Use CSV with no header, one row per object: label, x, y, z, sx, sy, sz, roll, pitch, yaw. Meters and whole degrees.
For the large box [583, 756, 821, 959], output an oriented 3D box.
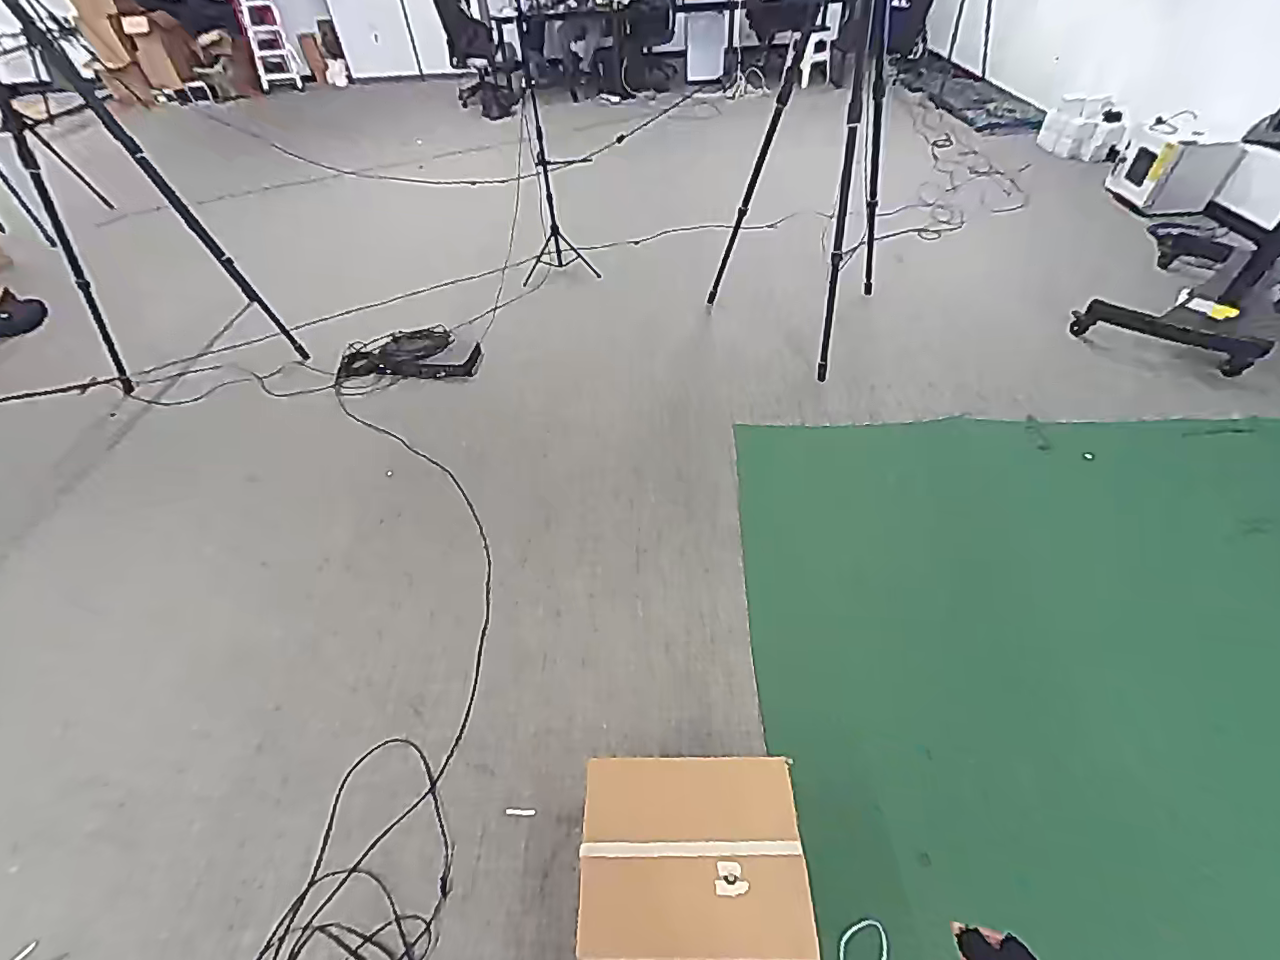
large box,0.104,0.779,1.100,0.408,0.320,0.320,-1,47,2
